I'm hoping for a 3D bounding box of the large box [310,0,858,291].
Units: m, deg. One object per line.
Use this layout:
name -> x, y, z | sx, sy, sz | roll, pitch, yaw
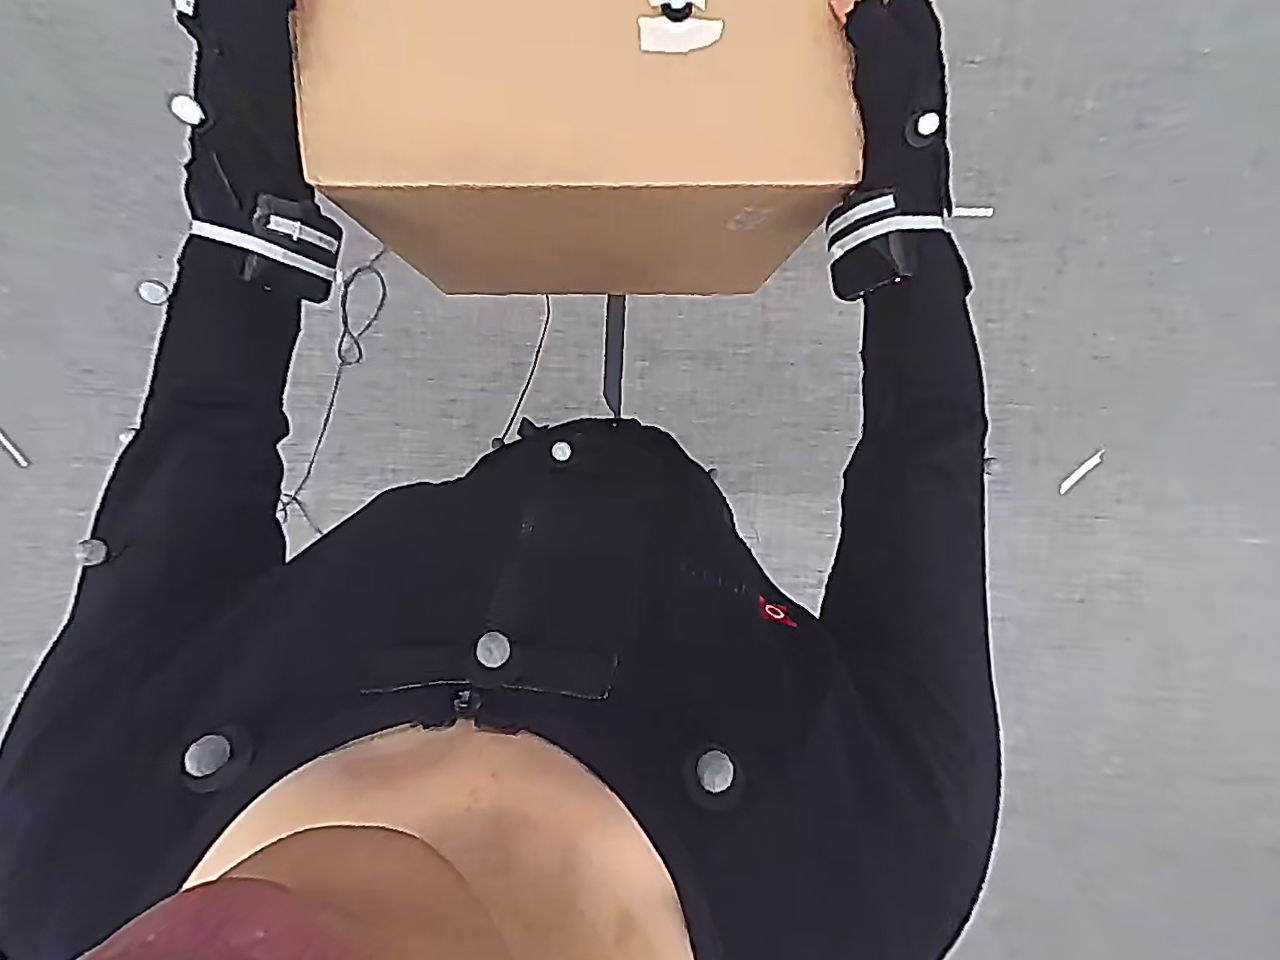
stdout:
large box -> -0.045, -0.389, 0.538 | 0.408, 0.320, 0.320 | -1, 95, -2
